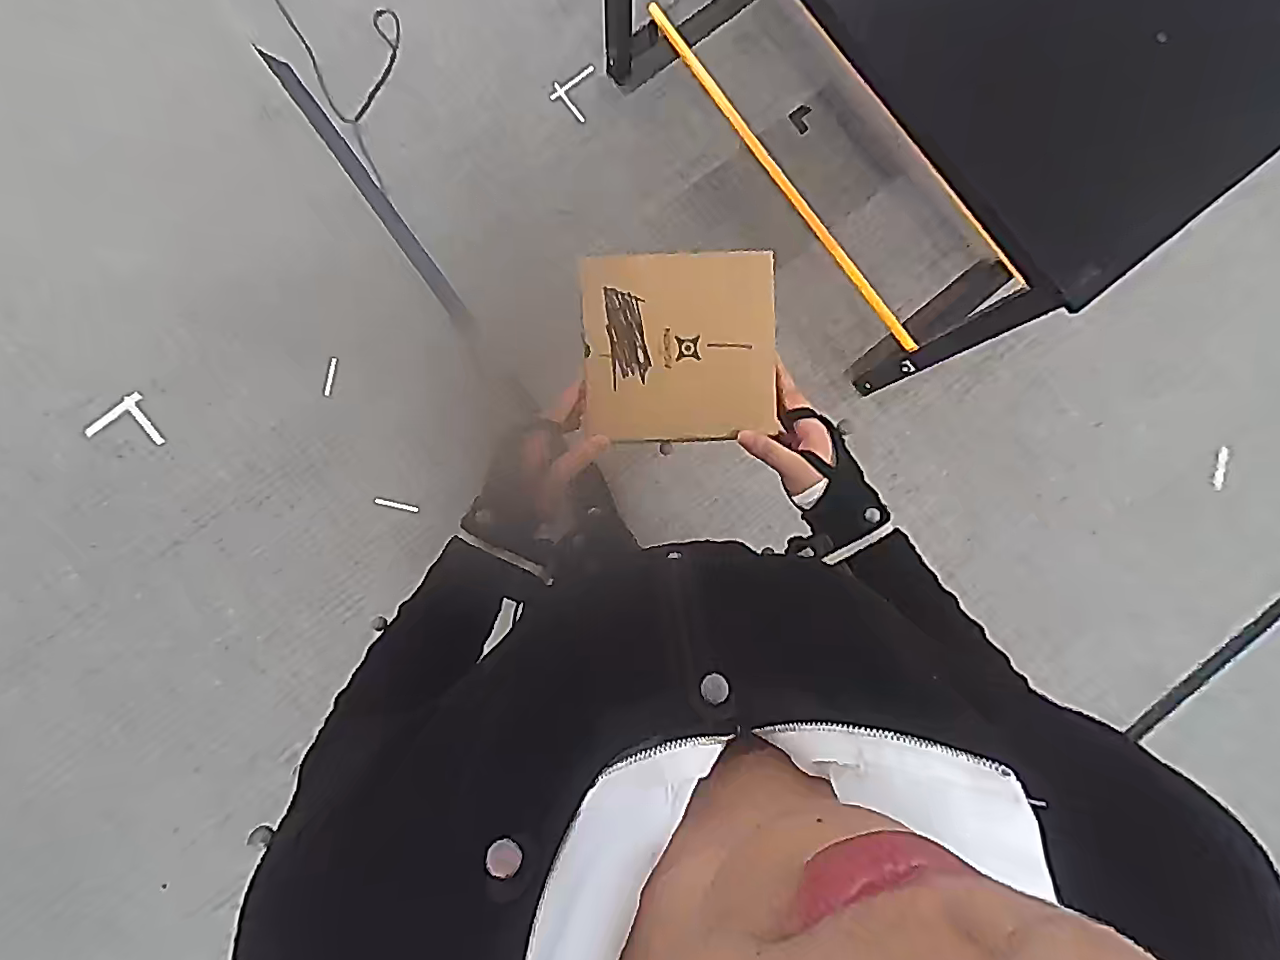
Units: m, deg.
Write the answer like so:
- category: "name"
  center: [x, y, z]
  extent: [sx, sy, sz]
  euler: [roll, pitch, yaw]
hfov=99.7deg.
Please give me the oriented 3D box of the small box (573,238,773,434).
- category: "small box"
  center: [0.030, -0.134, 0.562]
  extent: [0.179, 0.176, 0.168]
  euler: [-2, 93, -1]
